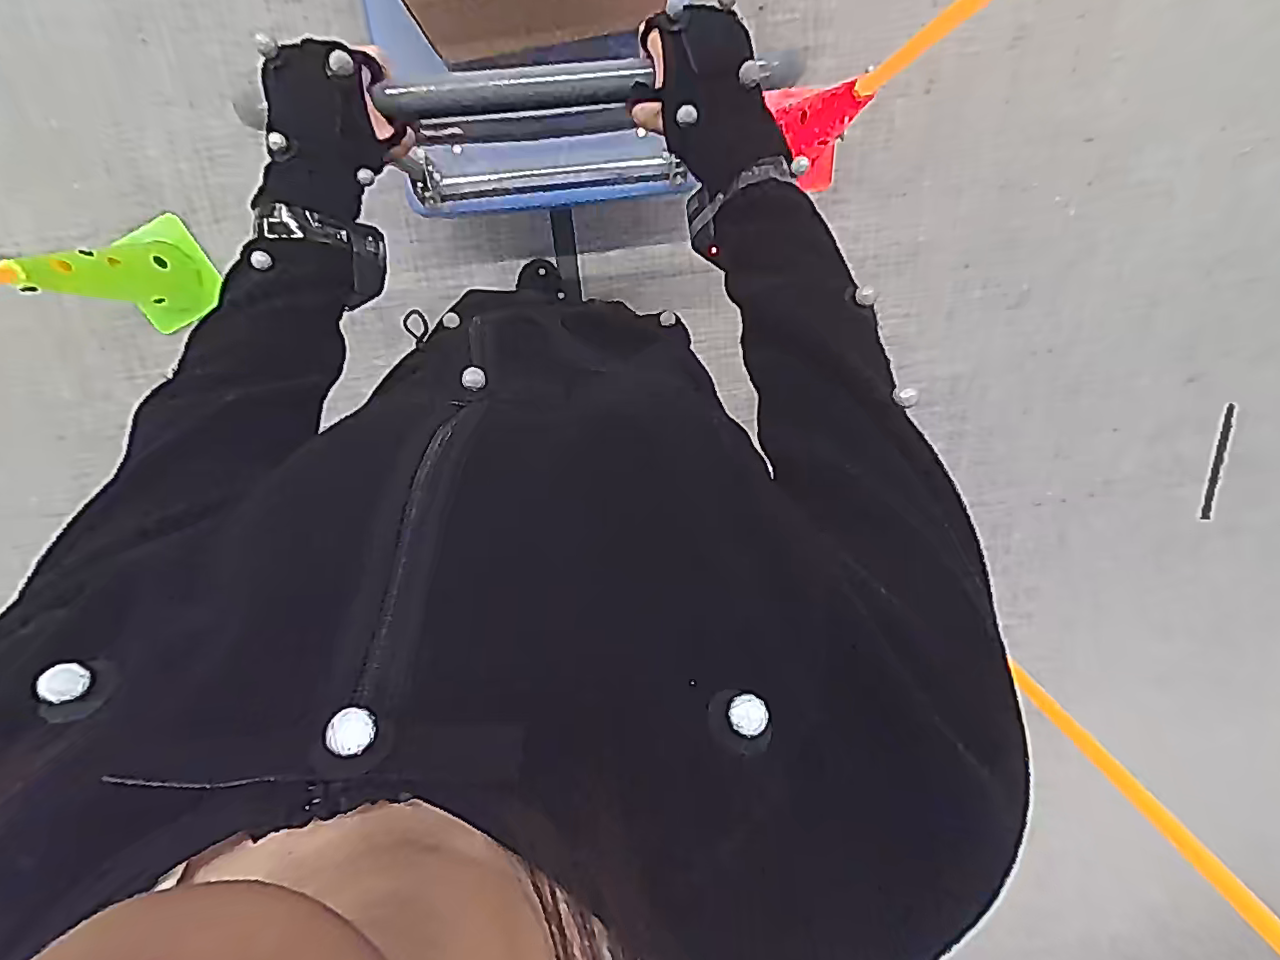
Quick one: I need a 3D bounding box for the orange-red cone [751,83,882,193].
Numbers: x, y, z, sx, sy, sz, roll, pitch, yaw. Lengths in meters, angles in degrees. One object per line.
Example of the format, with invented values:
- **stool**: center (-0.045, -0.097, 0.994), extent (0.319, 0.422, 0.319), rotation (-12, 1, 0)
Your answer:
- **orange-red cone**: center (0.370, -0.701, 1.060), extent (0.199, 0.360, 0.198), rotation (-2, 110, -6)
